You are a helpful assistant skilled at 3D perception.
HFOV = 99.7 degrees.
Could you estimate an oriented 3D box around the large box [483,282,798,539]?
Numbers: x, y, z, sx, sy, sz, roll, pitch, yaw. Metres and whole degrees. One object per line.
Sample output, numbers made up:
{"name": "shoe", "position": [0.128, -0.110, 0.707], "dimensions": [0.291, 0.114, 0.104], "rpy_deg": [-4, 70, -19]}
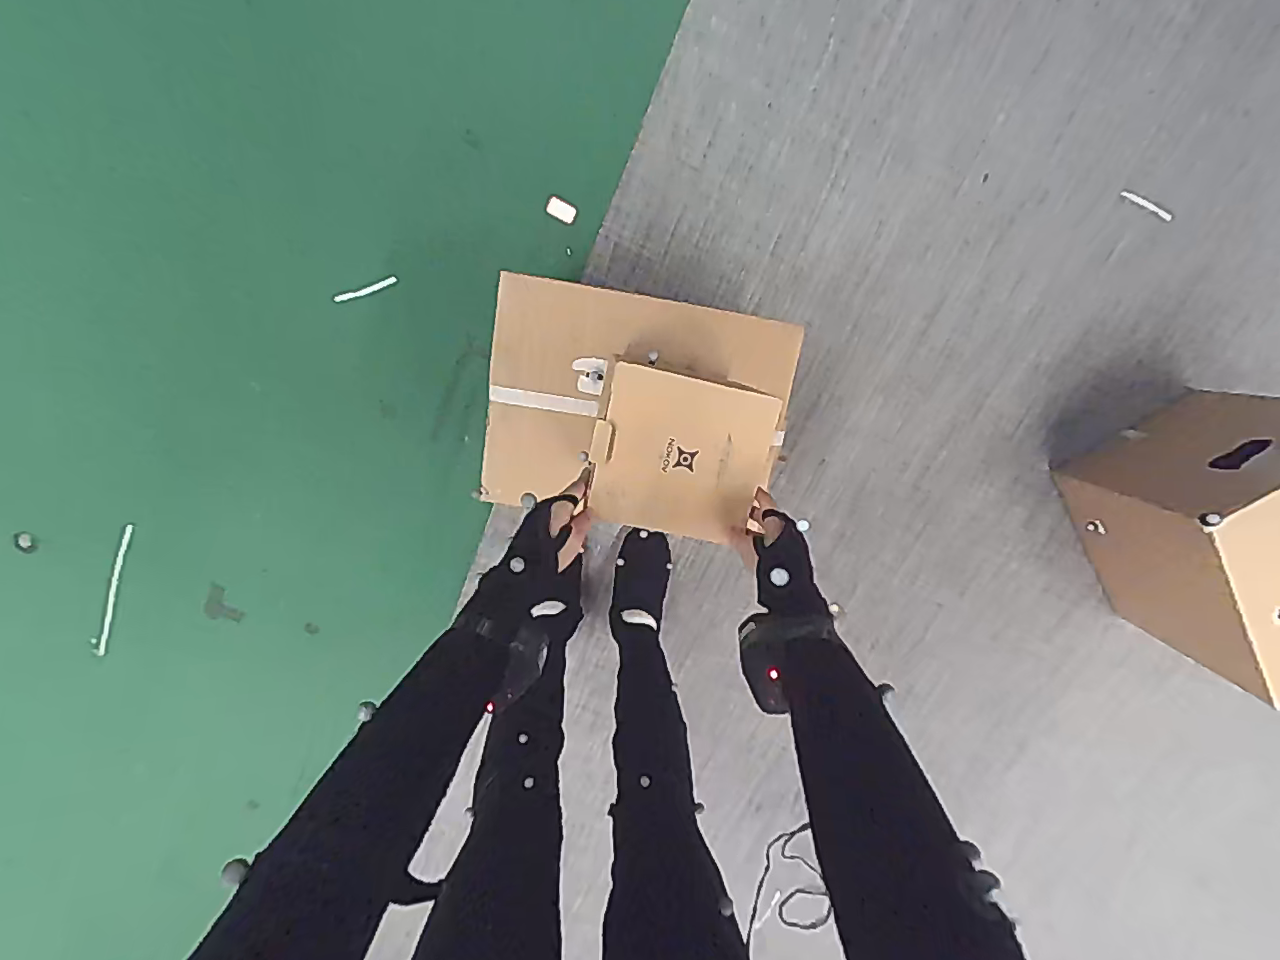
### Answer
{"name": "large box", "position": [-0.006, -0.123, 0.884], "dimensions": [0.408, 0.320, 0.320], "rpy_deg": [9, 104, -2]}

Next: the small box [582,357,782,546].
{"name": "small box", "position": [0.035, -0.043, 0.628], "dimensions": [0.179, 0.176, 0.168], "rpy_deg": [12, 104, -8]}
